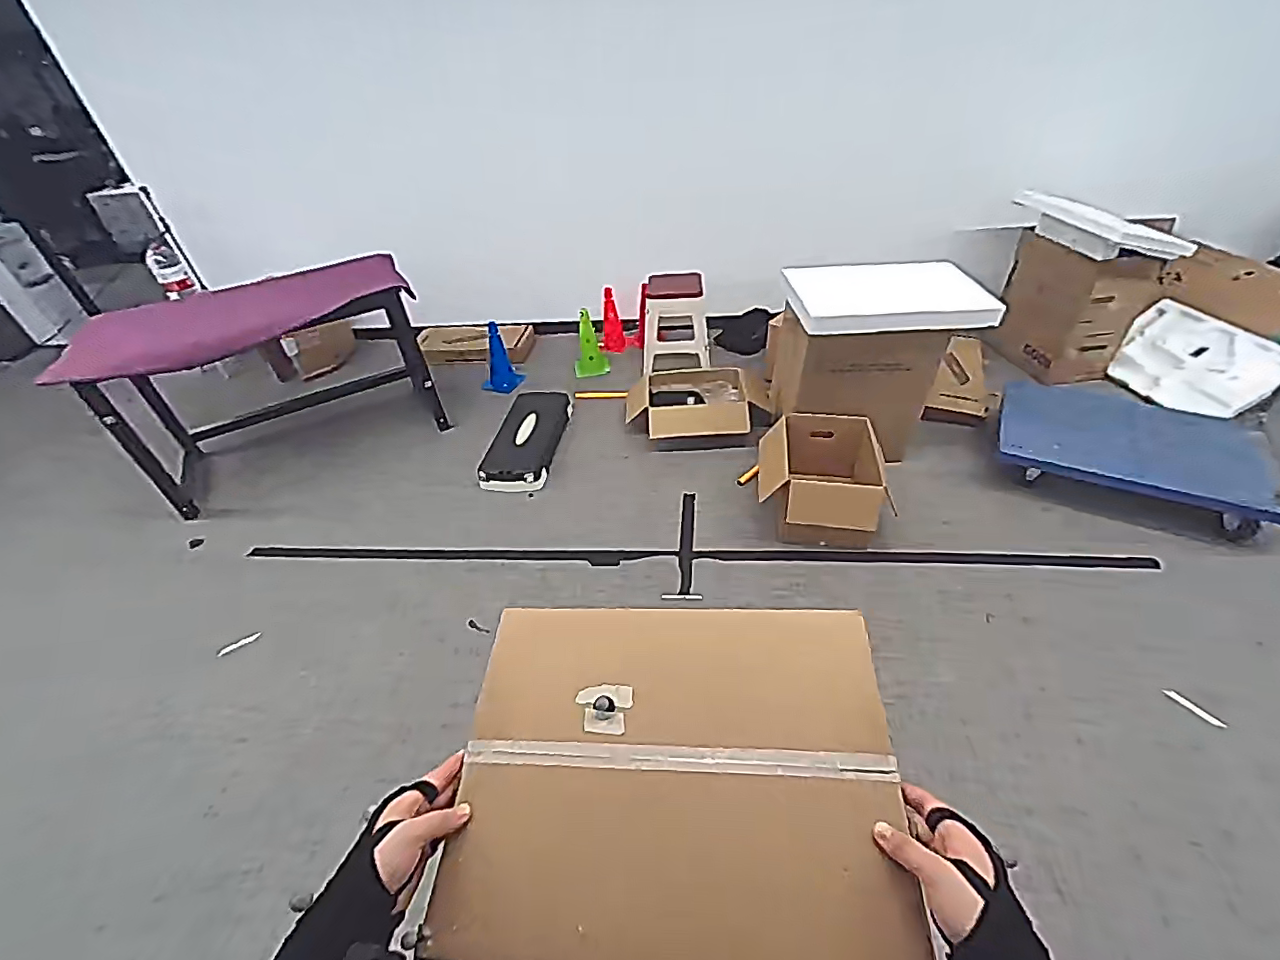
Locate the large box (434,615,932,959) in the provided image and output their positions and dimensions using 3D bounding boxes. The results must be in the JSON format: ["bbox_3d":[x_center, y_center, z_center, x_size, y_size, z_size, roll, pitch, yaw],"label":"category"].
[{"bbox_3d":[0.054,0.373,0.629,0.408,0.320,0.320,-3,47,9],"label":"large box"}]
